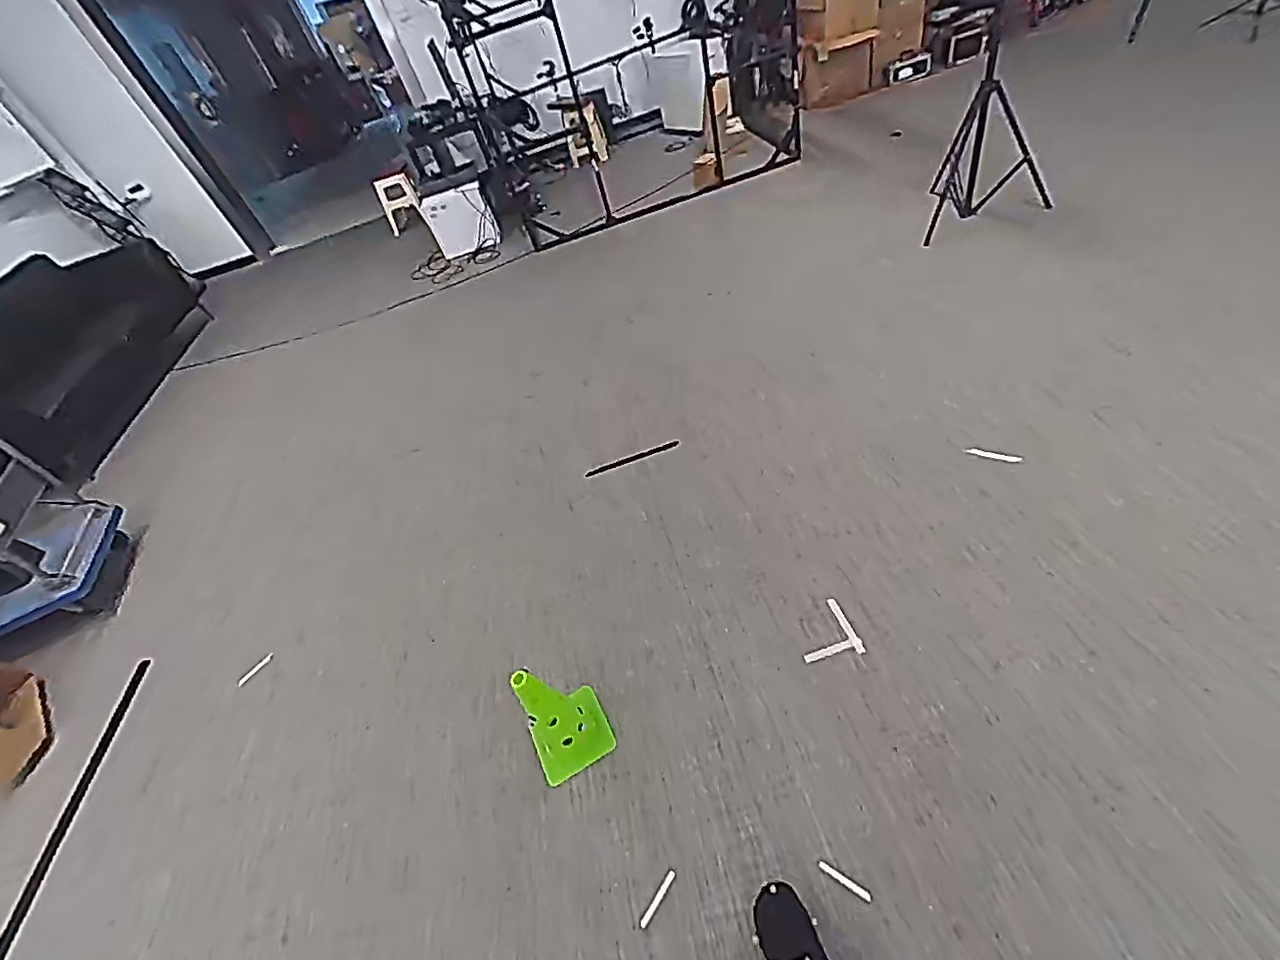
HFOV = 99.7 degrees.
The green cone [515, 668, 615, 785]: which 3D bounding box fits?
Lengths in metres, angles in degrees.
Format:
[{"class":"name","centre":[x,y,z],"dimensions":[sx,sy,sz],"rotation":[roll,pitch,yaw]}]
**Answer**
[{"class":"green cone","centre":[-0.227,0.569,1.341],"dimensions":[0.202,0.368,0.200],"rotation":[-29,45,-10]}]
